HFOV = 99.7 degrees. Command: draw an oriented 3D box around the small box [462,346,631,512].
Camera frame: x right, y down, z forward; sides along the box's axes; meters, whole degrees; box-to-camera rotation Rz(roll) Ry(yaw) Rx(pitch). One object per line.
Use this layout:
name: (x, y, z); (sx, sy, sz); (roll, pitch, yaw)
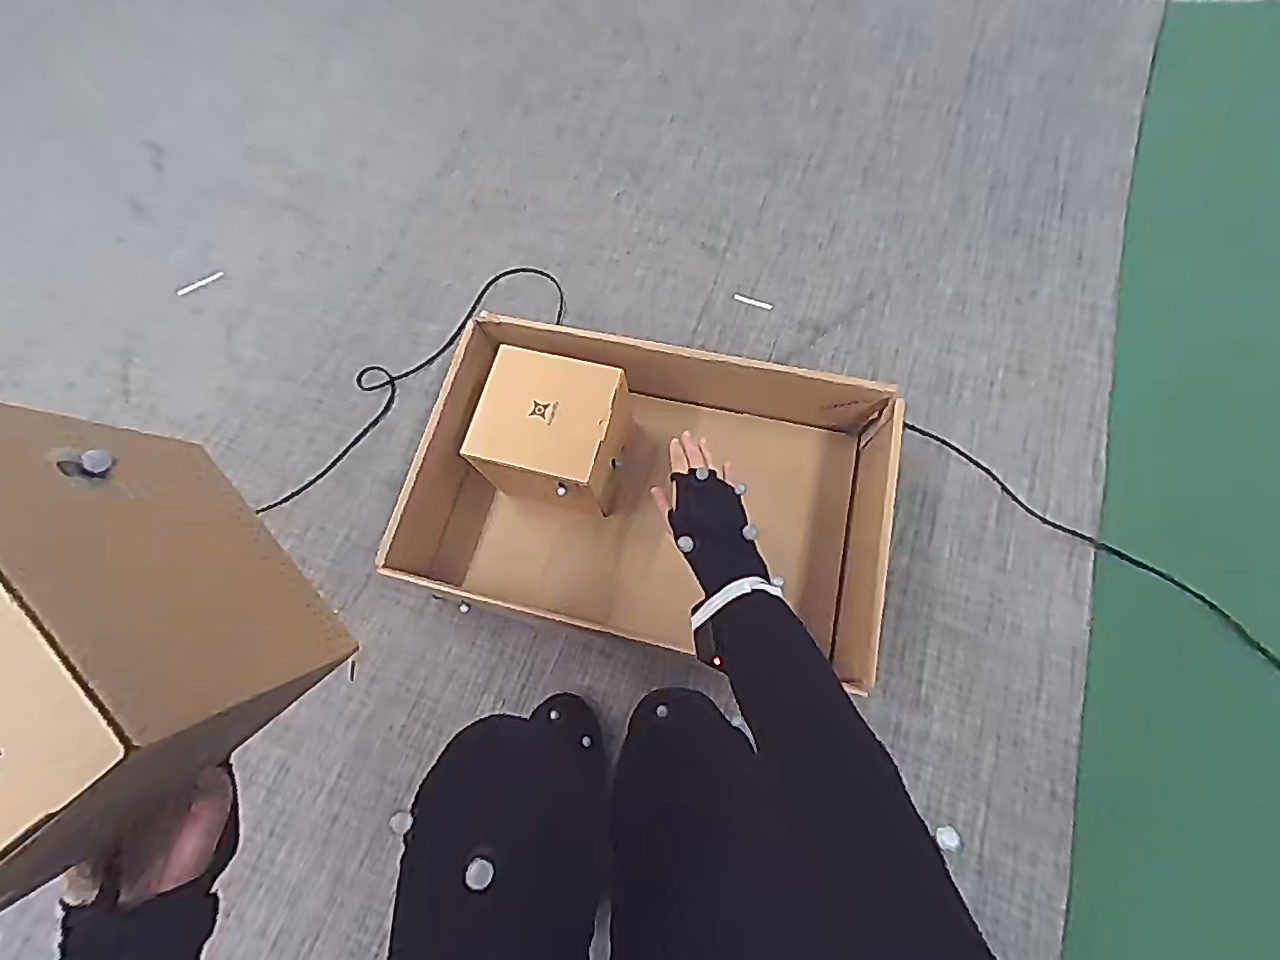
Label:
small box: (-0.120, -0.065, 0.776); (0.179, 0.176, 0.168); (14, 73, 7)
